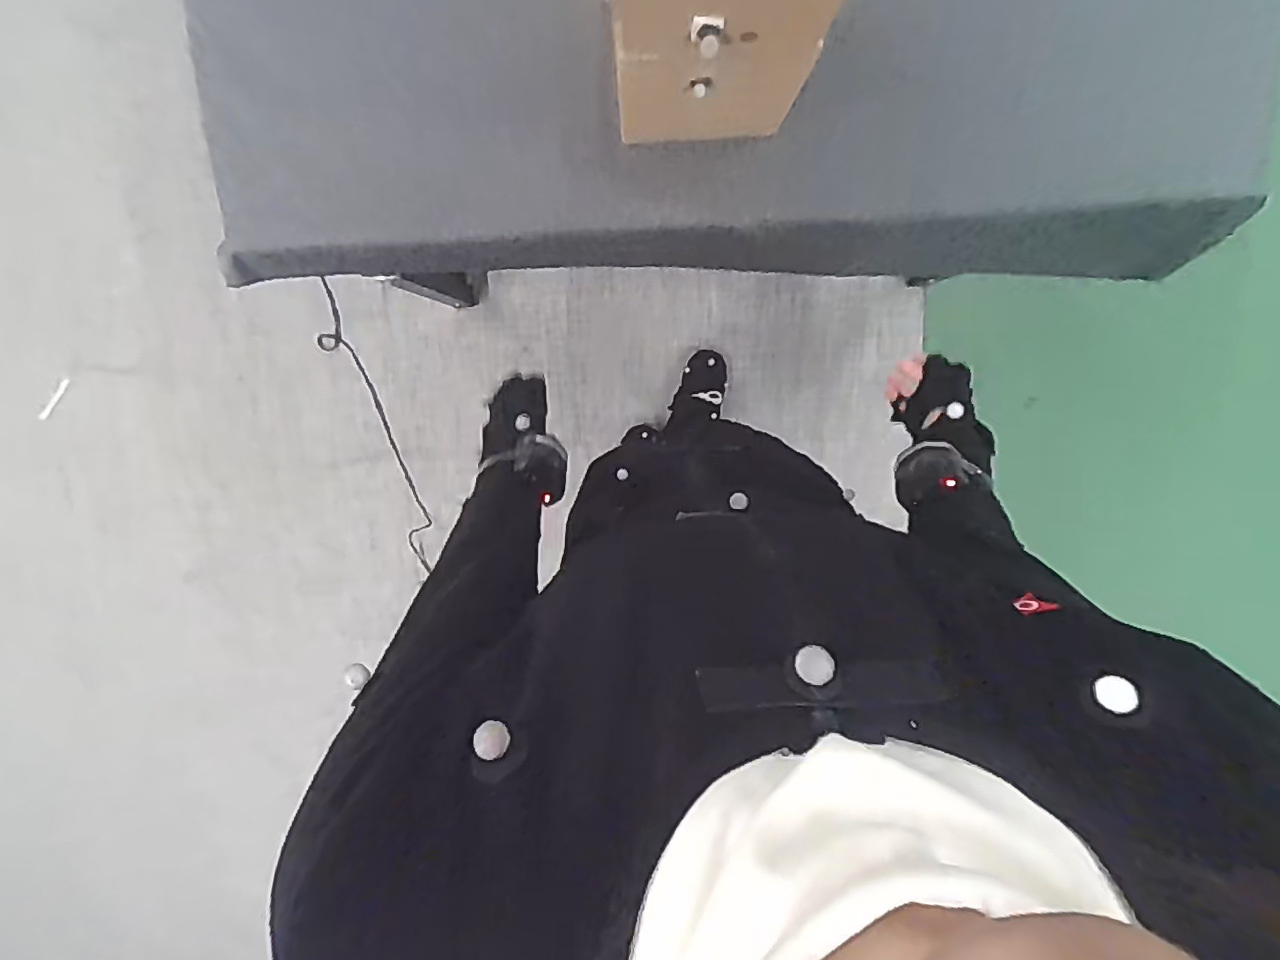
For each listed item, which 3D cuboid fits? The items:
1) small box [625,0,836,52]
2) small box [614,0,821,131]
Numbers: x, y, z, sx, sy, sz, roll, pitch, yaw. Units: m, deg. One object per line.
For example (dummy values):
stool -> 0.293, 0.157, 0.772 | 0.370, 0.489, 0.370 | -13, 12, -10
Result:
small box -> 0.066, -0.436, 0.365 | 0.168, 0.176, 0.179 | -2, 102, 2
small box -> 0.064, -0.464, 0.524 | 0.179, 0.176, 0.168 | -3, 101, 0
